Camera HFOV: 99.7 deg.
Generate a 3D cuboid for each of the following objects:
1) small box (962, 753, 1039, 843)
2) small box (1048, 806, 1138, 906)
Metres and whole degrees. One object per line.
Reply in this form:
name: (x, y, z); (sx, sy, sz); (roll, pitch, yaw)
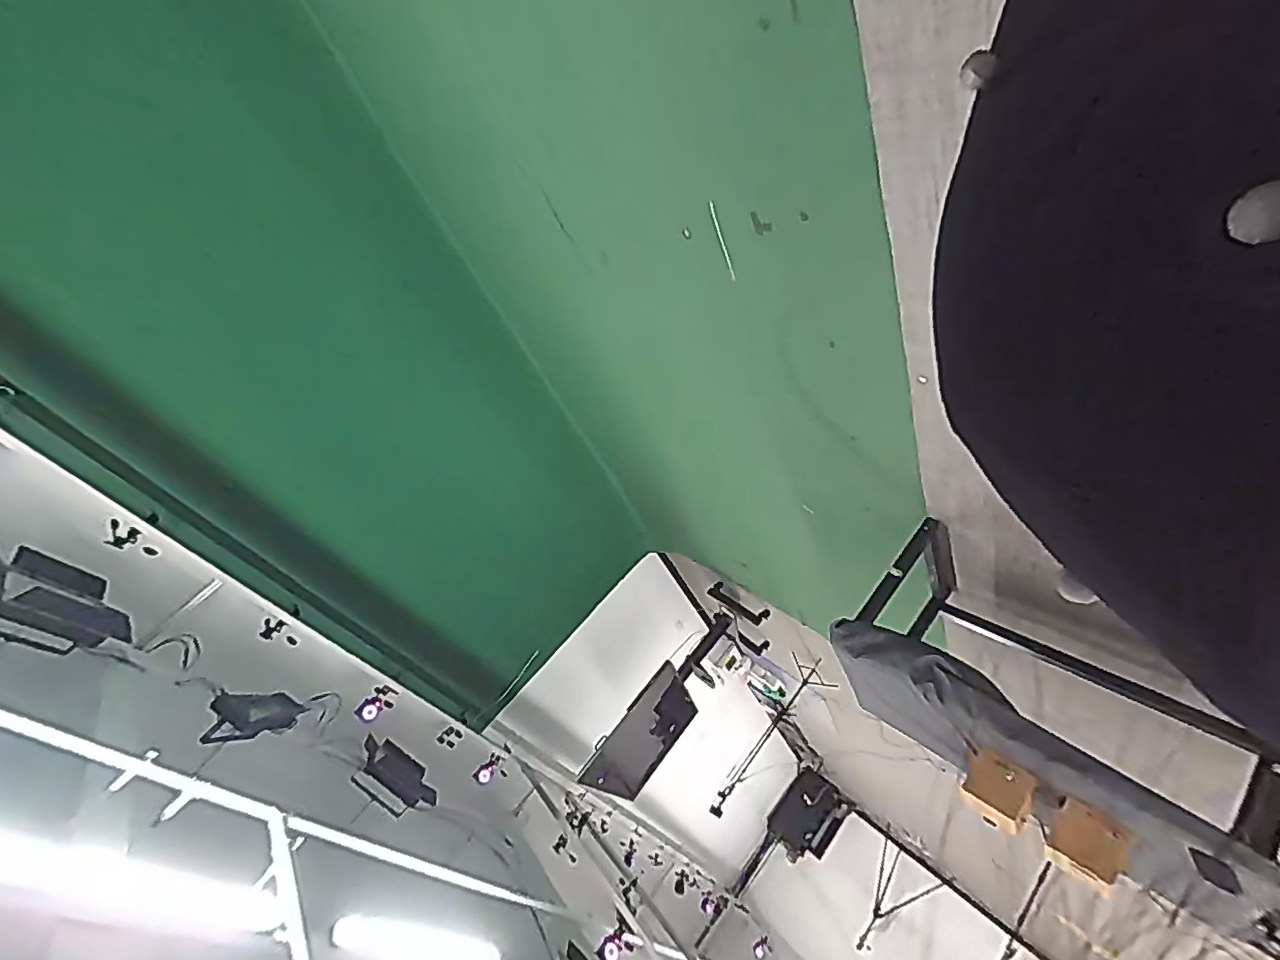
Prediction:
small box: (1.216, 1.063, 1.816); (0.168, 0.176, 0.179); (20, 149, 49)
small box: (1.364, 1.127, 1.631); (0.168, 0.176, 0.179); (22, 153, 49)
